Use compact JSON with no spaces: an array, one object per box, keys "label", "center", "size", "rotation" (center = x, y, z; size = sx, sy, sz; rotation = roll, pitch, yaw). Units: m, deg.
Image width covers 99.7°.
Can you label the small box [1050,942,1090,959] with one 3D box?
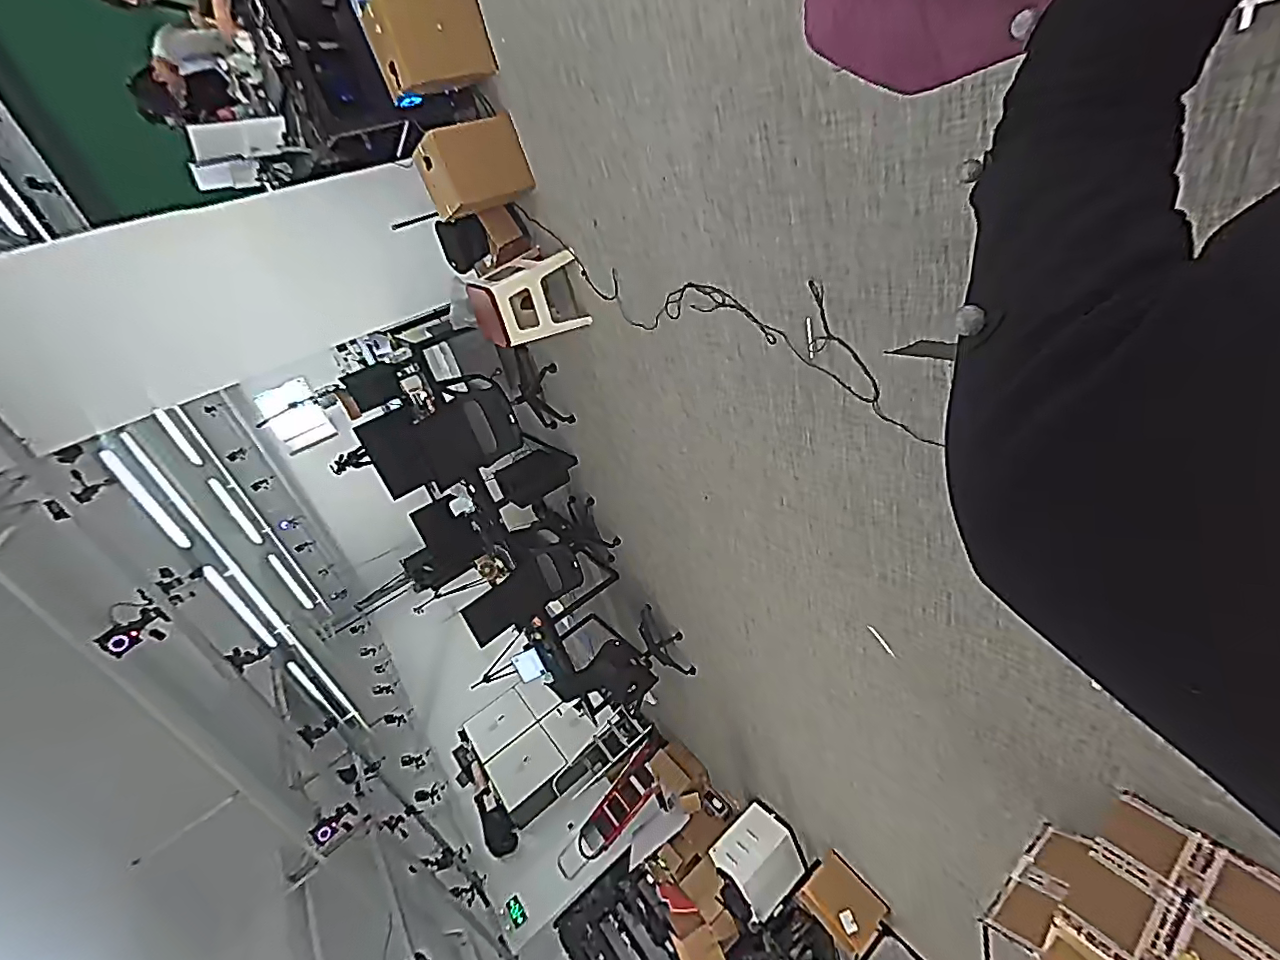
[{"label":"small box","center":[1.184,1.408,1.449],"size":[0.179,0.176,0.168],"rotation":[34,145,47]}]
